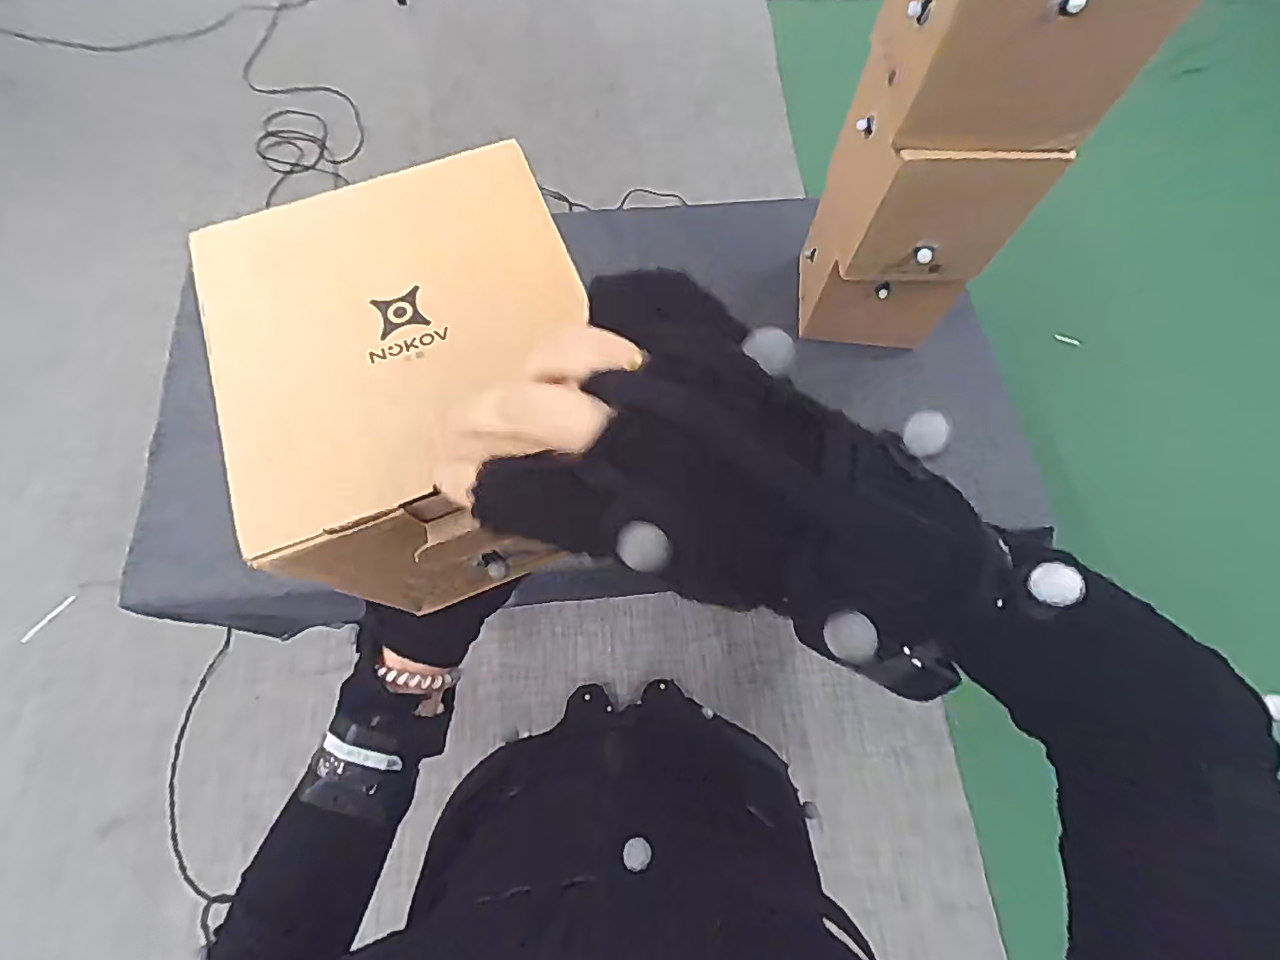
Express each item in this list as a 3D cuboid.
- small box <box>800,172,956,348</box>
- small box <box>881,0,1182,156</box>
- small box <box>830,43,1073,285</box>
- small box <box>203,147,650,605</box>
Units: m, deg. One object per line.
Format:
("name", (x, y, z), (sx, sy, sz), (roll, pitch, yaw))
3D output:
("small box", (0.334, -0.307, 0.770), (0.179, 0.176, 0.168), (7, 70, 2))
("small box", (0.322, -0.408, 0.459), (0.179, 0.176, 0.168), (3, 70, 1))
("small box", (0.326, -0.348, 0.611), (0.168, 0.176, 0.179), (0, 70, 1))
("small box", (-0.104, -0.044, 0.318), (0.168, 0.176, 0.179), (-21, 72, -8))
